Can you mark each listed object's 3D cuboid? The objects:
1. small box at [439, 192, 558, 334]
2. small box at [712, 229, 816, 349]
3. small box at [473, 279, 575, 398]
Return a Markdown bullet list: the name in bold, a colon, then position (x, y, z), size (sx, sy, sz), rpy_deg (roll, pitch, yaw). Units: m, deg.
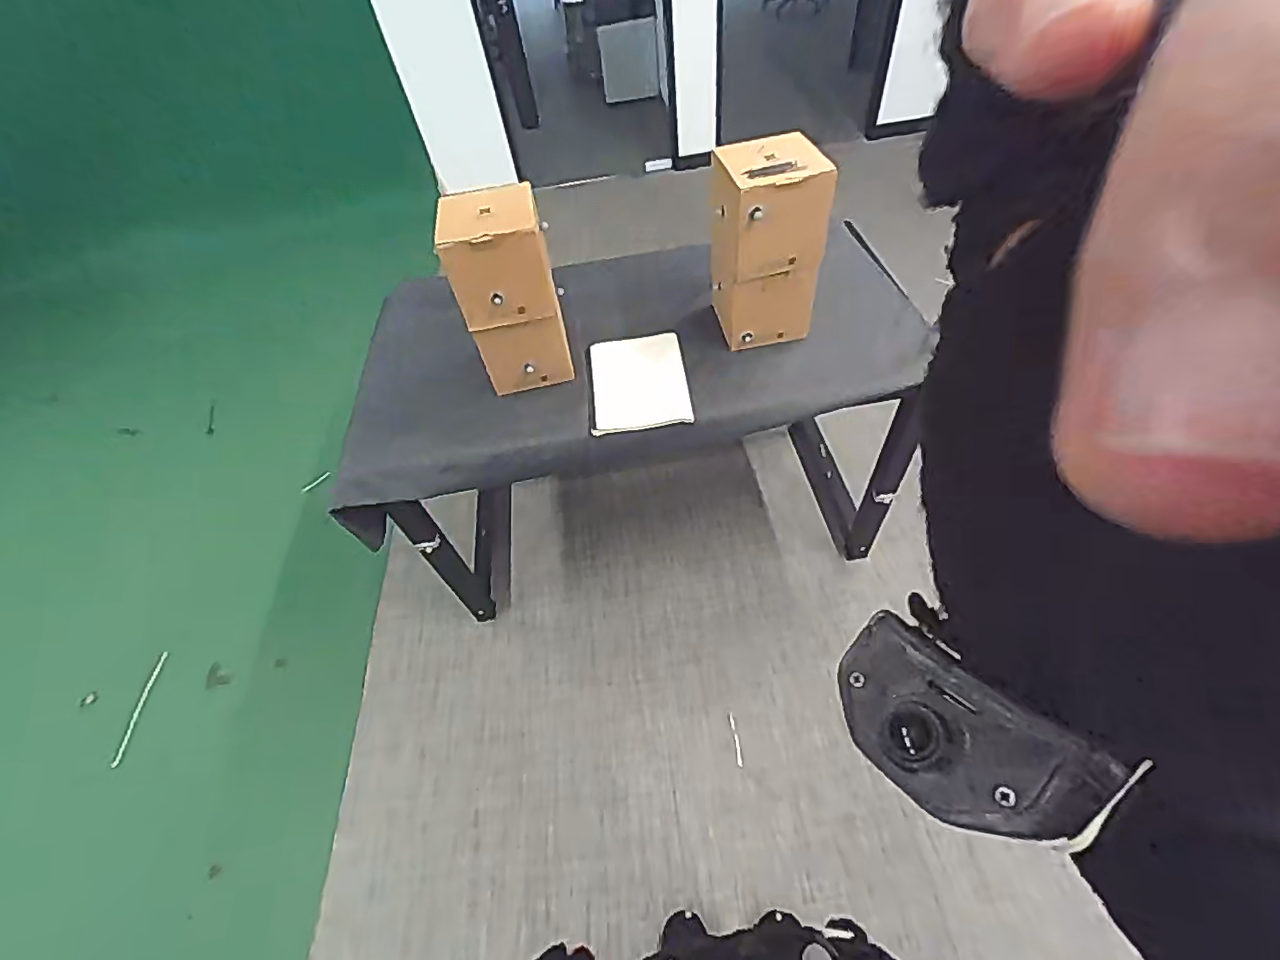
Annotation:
- **small box**: position (-0.250, -0.392, 0.981), size (0.168, 0.176, 0.179), rpy_deg (-12, 51, -3)
- **small box**: position (0.250, -0.389, 1.126), size (0.168, 0.176, 0.179), rpy_deg (-10, 50, -1)
- **small box**: position (-0.237, -0.297, 1.112), size (0.168, 0.176, 0.179), rpy_deg (-13, 51, -3)
